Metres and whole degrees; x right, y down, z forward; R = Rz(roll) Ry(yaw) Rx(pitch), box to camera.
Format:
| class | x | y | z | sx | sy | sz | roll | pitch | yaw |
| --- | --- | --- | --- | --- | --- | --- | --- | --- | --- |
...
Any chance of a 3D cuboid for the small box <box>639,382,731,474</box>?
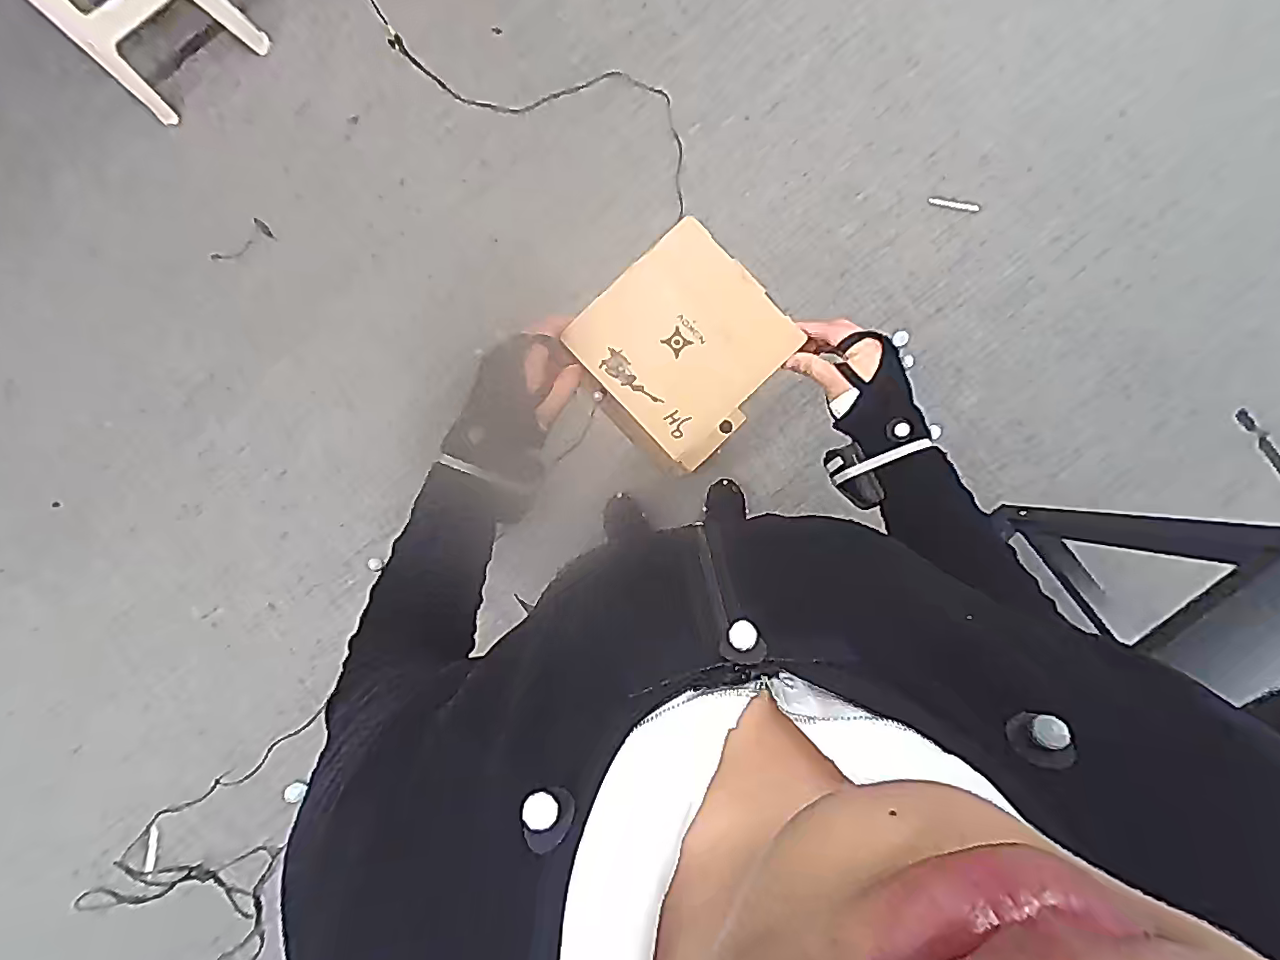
| class | x | y | z | sx | sy | sz | roll | pitch | yaw |
| --- | --- | --- | --- | --- | --- | --- | --- | --- | --- |
| small box | 0.113 | -0.132 | 1.430 | 0.179 | 0.176 | 0.168 | -42 | 89 | 2 |
